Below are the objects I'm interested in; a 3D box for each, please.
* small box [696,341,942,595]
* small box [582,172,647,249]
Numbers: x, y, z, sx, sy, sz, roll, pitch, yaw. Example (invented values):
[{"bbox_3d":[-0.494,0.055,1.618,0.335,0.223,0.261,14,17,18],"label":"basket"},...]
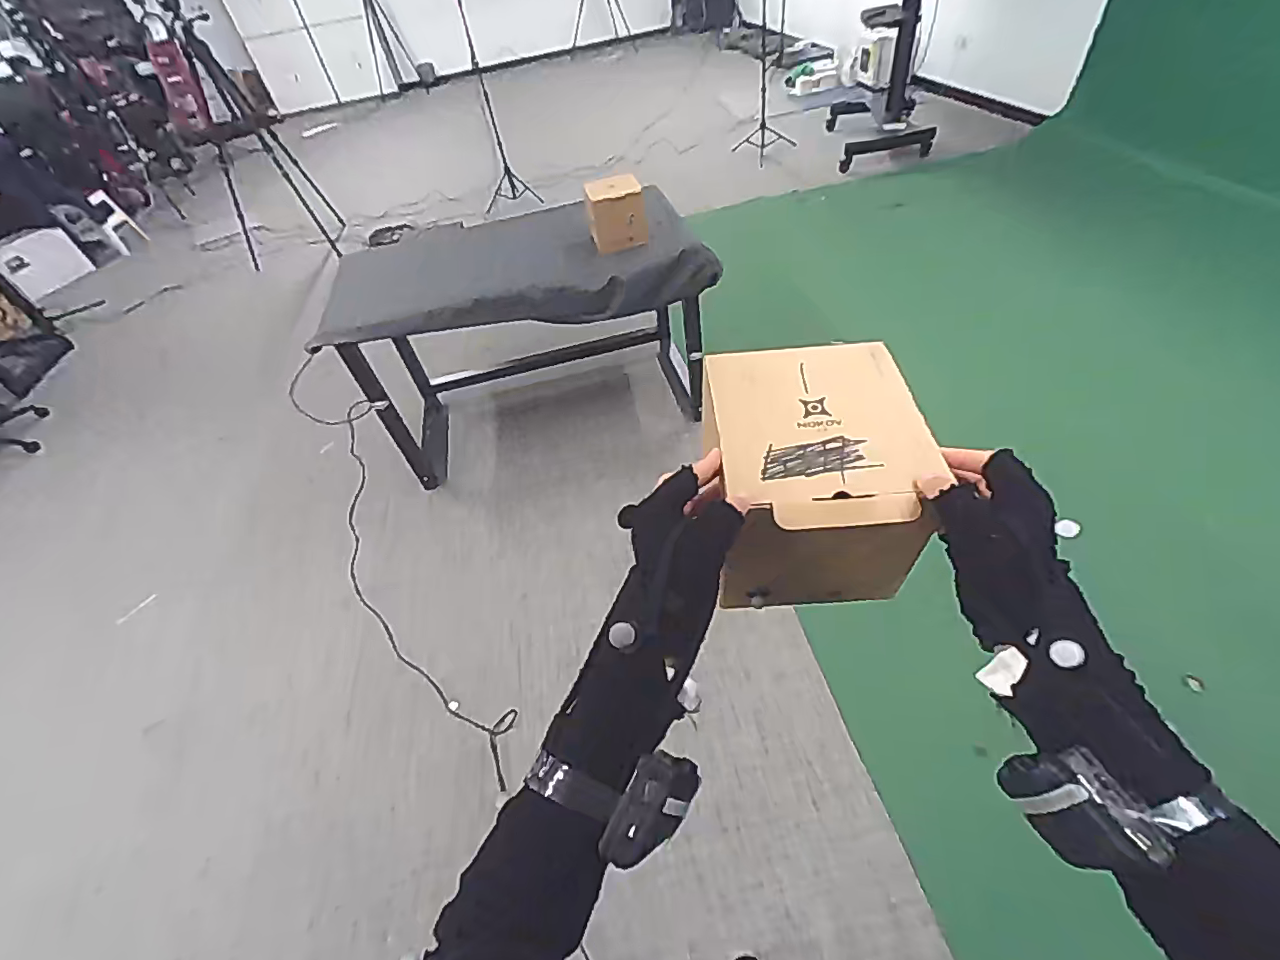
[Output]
[{"bbox_3d":[0.142,-0.003,0.504,0.168,0.176,0.179,-4,50,2],"label":"small box"},{"bbox_3d":[-0.080,-0.862,1.742,0.168,0.176,0.179,-15,45,-5],"label":"small box"}]
